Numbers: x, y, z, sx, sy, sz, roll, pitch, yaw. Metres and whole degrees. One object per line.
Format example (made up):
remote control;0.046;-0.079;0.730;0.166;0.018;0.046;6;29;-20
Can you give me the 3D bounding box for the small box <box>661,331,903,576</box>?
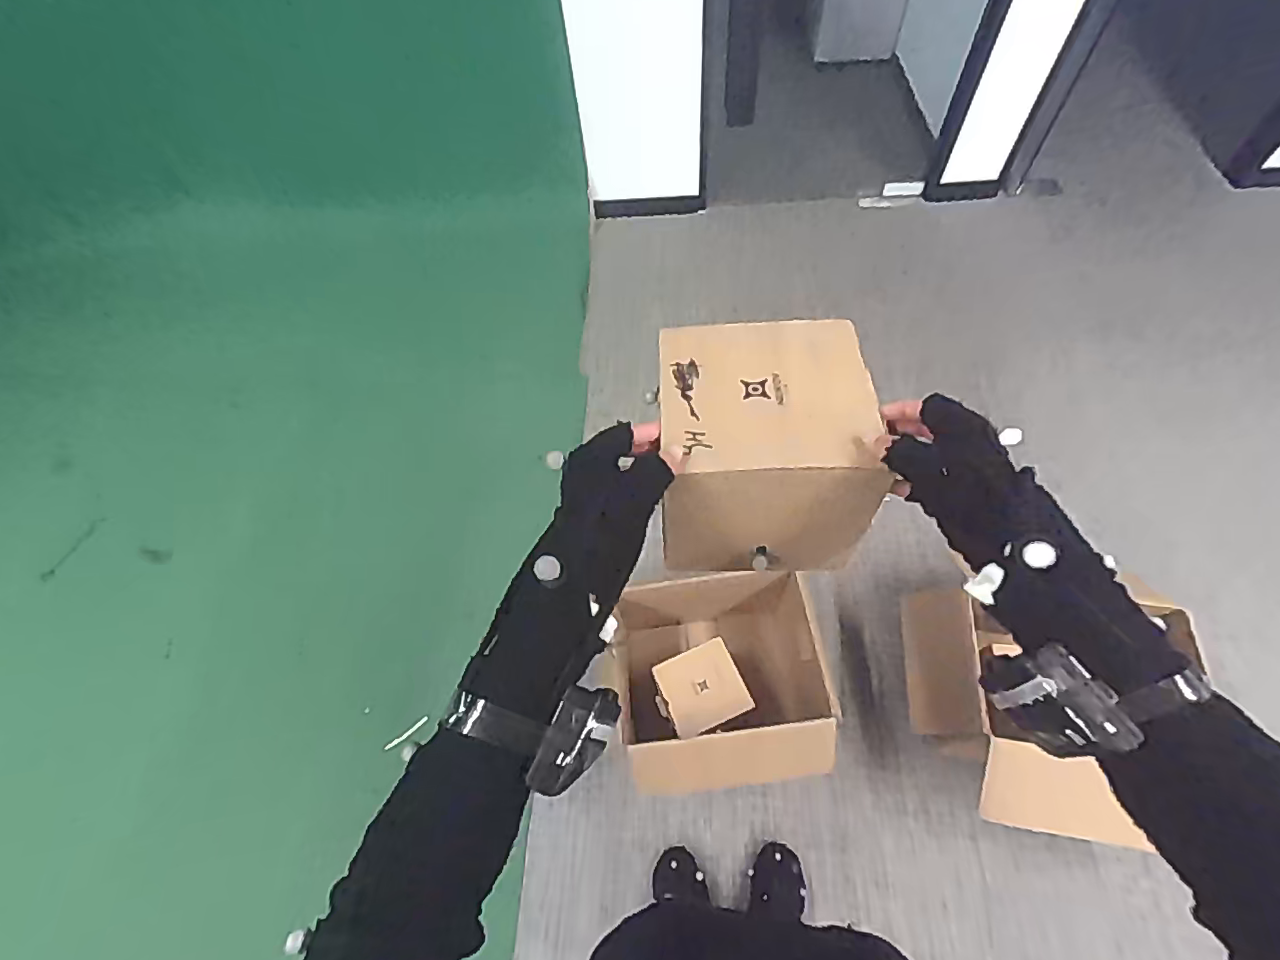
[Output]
small box;0.109;-0.019;0.507;0.179;0.176;0.168;-1;54;1
